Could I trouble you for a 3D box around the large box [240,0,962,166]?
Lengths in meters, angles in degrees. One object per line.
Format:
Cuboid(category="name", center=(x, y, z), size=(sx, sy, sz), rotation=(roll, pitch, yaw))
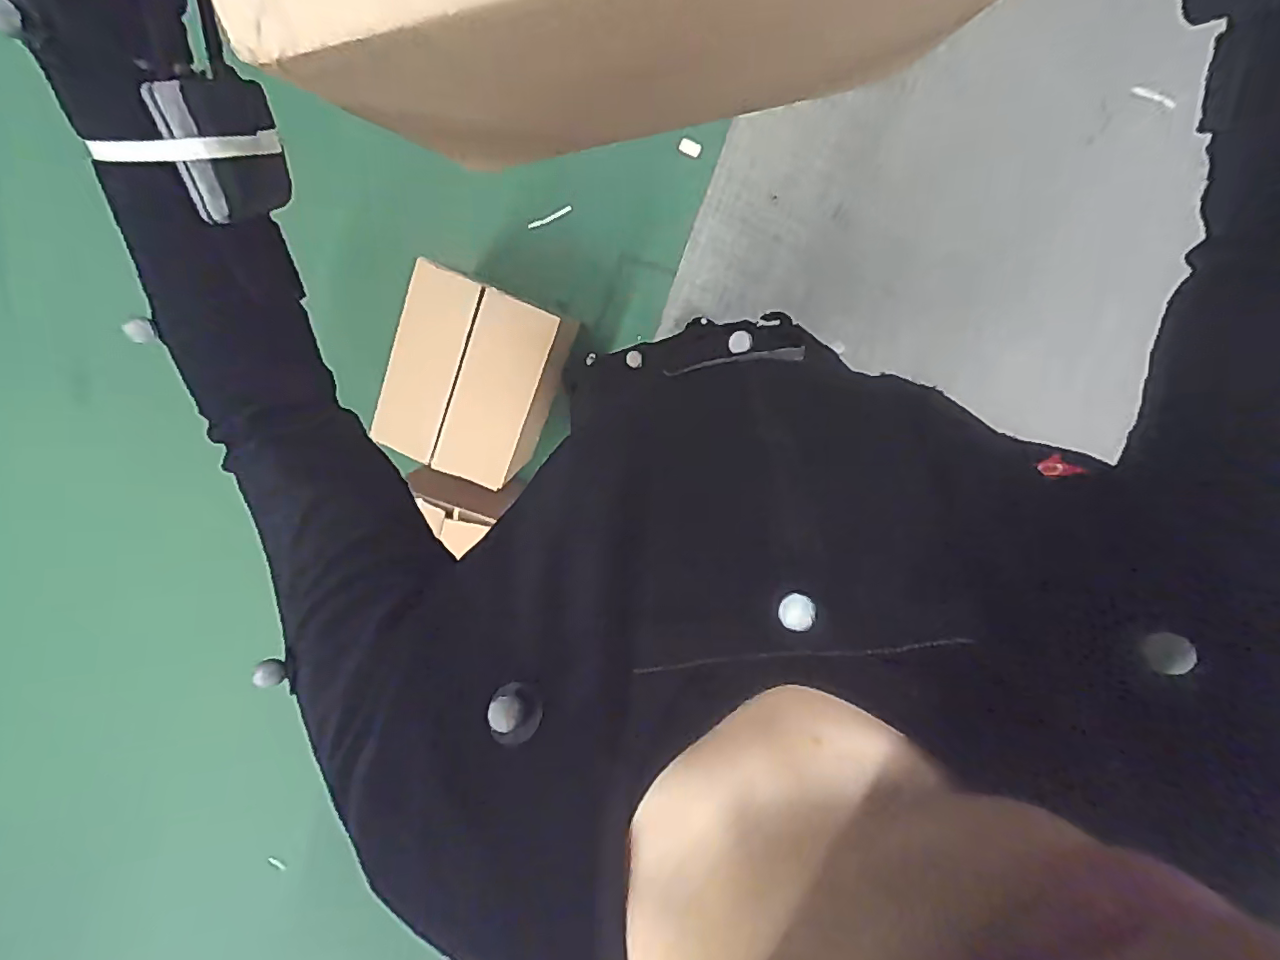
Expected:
Cuboid(category="large box", center=(-0.002, -0.415, 0.303), size=(0.408, 0.320, 0.320), rotation=(-10, 112, 5))
